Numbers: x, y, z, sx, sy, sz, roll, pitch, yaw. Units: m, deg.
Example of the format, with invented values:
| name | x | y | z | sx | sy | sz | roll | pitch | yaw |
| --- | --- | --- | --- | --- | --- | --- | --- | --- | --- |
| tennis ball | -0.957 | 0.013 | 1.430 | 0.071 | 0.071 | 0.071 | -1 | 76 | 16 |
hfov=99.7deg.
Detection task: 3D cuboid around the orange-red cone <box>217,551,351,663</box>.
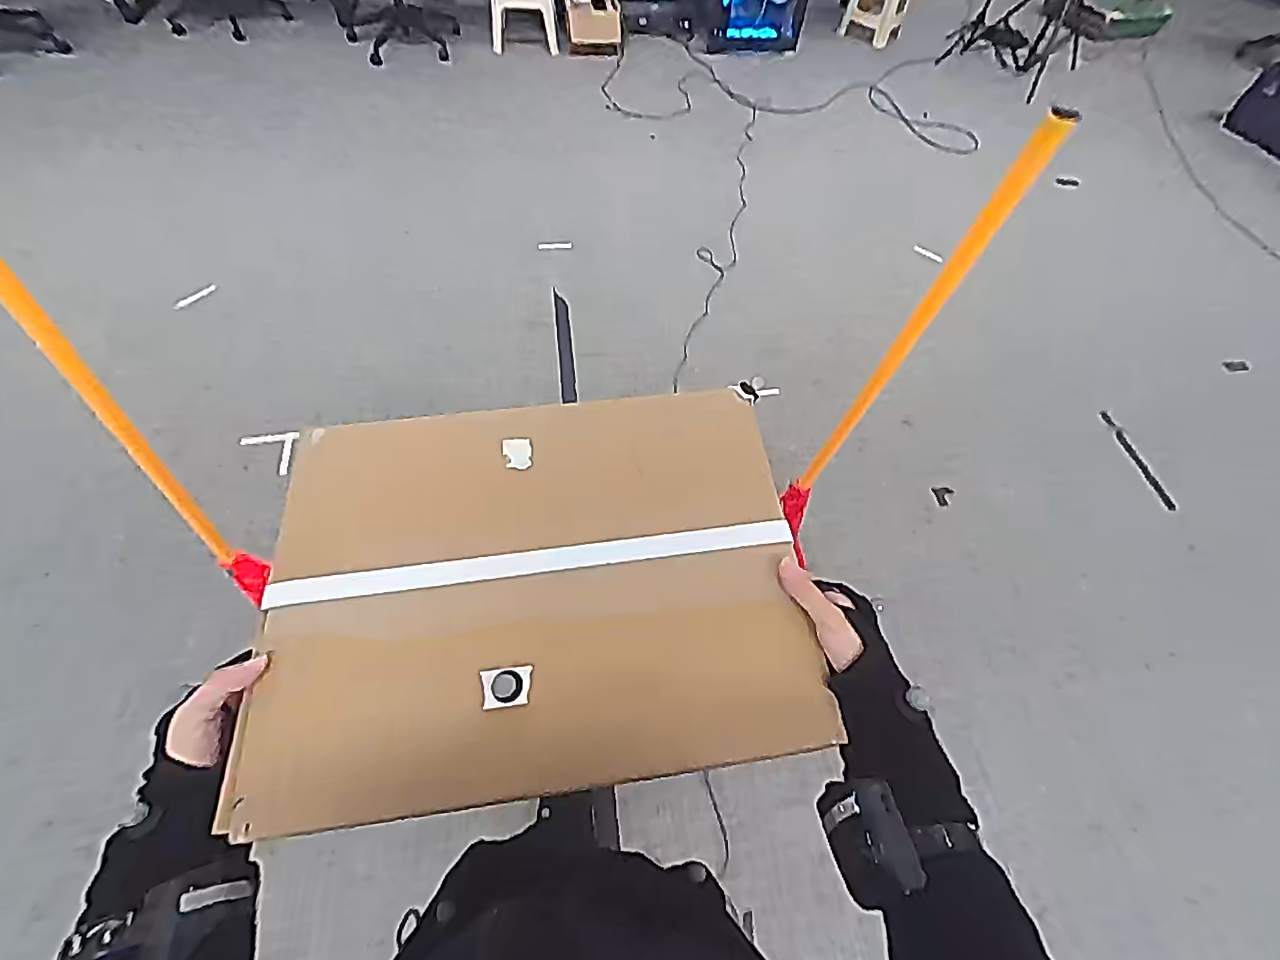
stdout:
| name | x | y | z | sx | sy | sz | roll | pitch | yaw |
| --- | --- | --- | --- | --- | --- | --- | --- | --- | --- |
| orange-red cone | -0.825 | 0.253 | 1.213 | 0.199 | 0.360 | 0.198 | -14 | 59 | -11 |
